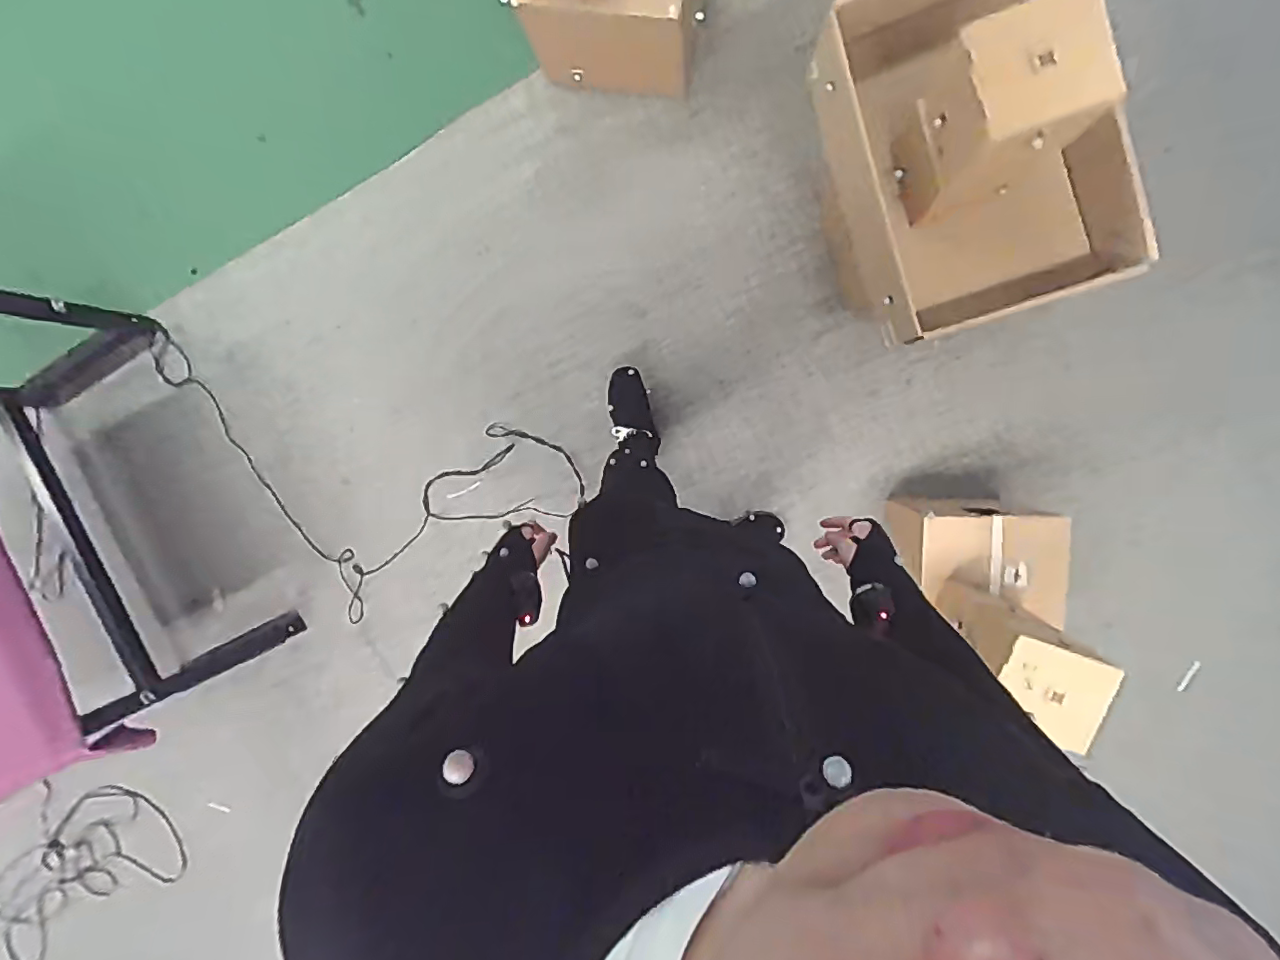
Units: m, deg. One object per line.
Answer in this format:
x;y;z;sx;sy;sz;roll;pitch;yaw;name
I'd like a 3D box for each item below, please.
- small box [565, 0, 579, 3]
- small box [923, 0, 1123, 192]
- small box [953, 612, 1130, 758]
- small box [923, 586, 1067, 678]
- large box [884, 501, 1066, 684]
-0.200;-1.172;1.145;0.168;0.176;0.179;15;97;5;small box
0.569;-0.580;0.827;0.179;0.176;0.168;-16;92;10;small box
0.723;0.364;0.997;0.179;0.176;0.168;19;97;8;small box
0.748;0.346;1.160;0.179;0.176;0.168;20;98;7;small box
0.830;0.270;1.390;0.320;0.320;0.408;0;94;8;large box
